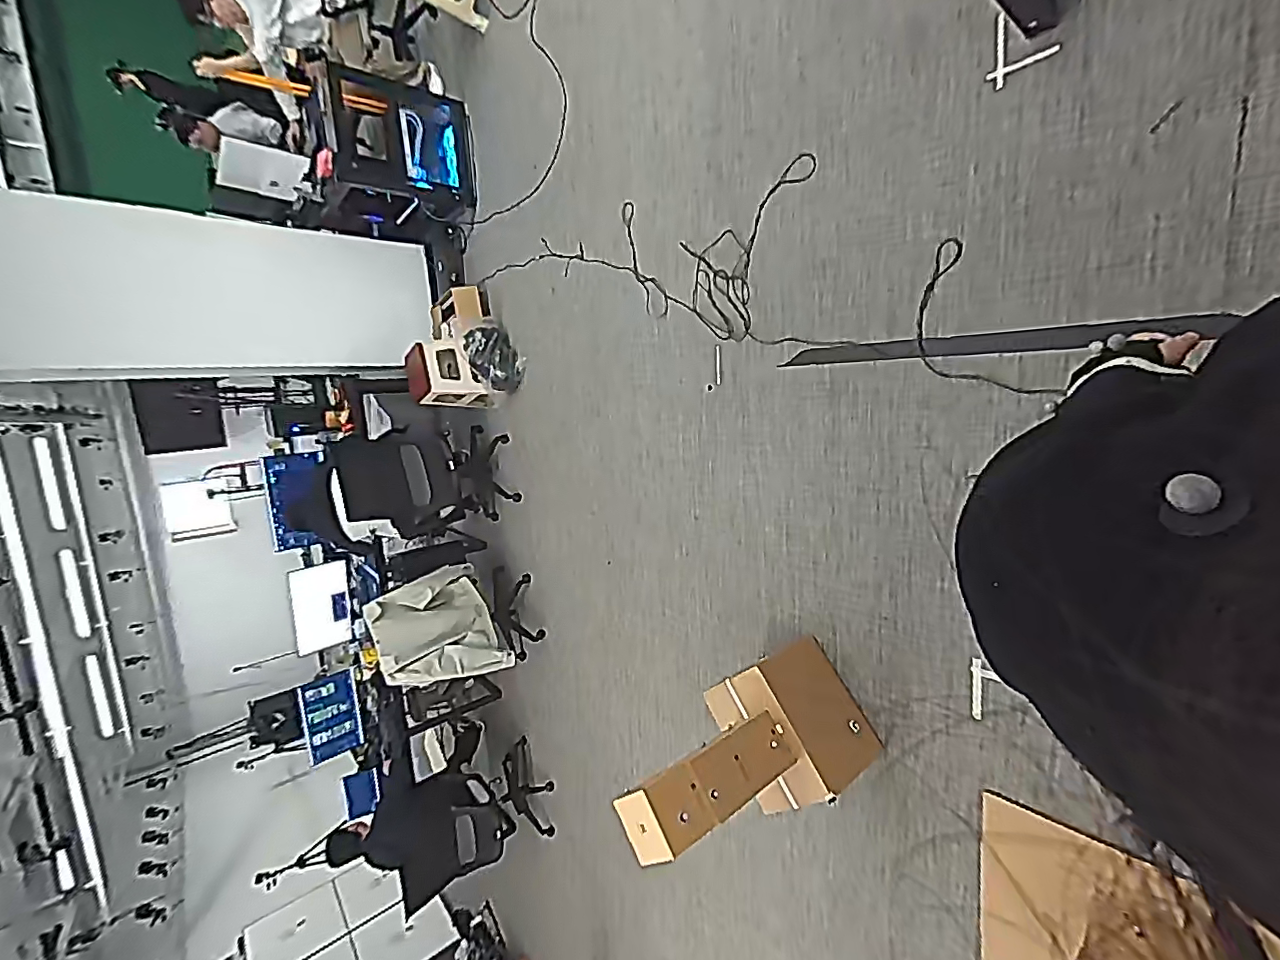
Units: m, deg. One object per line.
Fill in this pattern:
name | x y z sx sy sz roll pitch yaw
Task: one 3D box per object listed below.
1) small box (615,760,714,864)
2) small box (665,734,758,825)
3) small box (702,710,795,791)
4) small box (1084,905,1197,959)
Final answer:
small box | 0.070 0.860 1.410 0.168 0.176 0.179 60 138 22
small box | 0.195 0.842 1.512 0.168 0.176 0.179 60 138 22
small box | 0.323 0.817 1.612 0.168 0.176 0.179 60 137 22
small box | 1.108 1.104 1.188 0.168 0.176 0.179 -6 93 49
